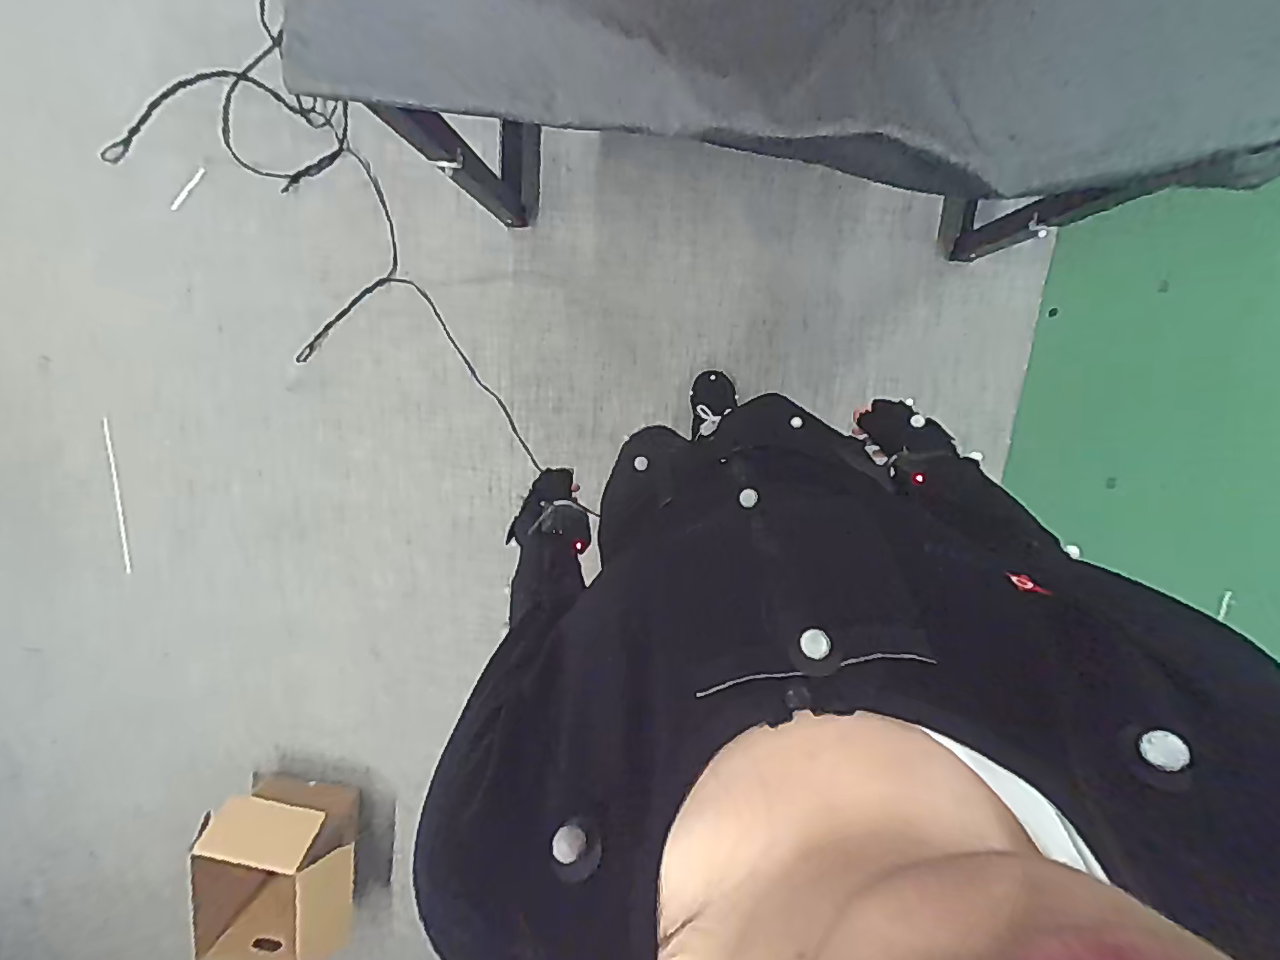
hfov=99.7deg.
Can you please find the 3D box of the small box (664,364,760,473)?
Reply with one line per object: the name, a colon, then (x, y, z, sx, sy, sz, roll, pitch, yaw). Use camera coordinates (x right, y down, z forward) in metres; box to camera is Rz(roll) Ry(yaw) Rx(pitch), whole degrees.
small box: (0.181, -0.153, 1.375, 0.168, 0.176, 0.179, 40, 77, 22)
